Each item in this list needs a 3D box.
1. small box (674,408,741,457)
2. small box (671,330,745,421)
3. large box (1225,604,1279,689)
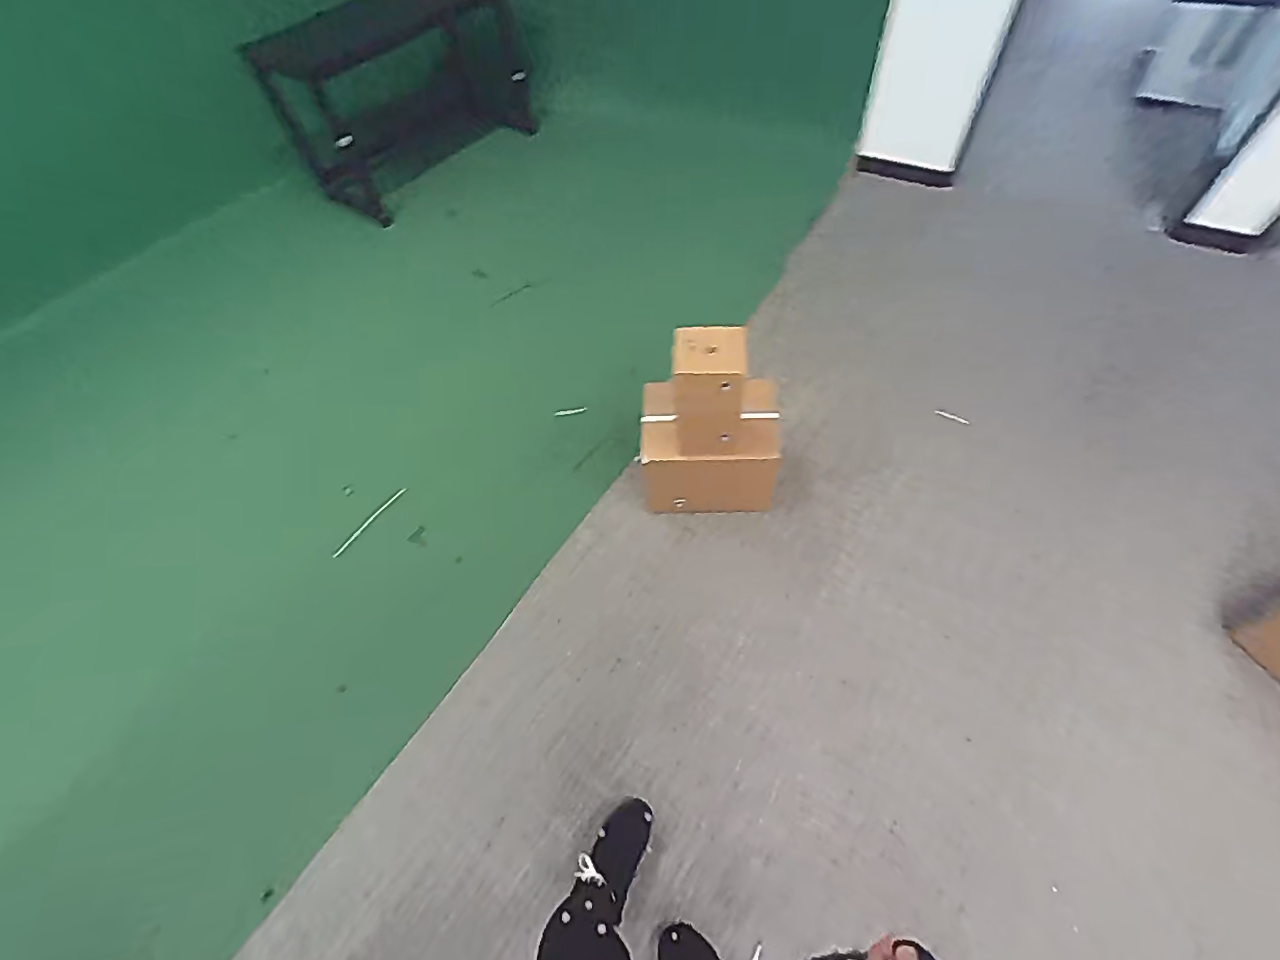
[{"bbox_3d":[0.187,-0.176,1.526,0.179,0.176,0.168,-1,57,6],"label":"small box"},{"bbox_3d":[0.173,-0.265,1.388,0.179,0.176,0.168,1,56,6],"label":"small box"},{"bbox_3d":[1.785,0.433,1.262,0.320,0.320,0.408,-23,56,-10],"label":"large box"}]
